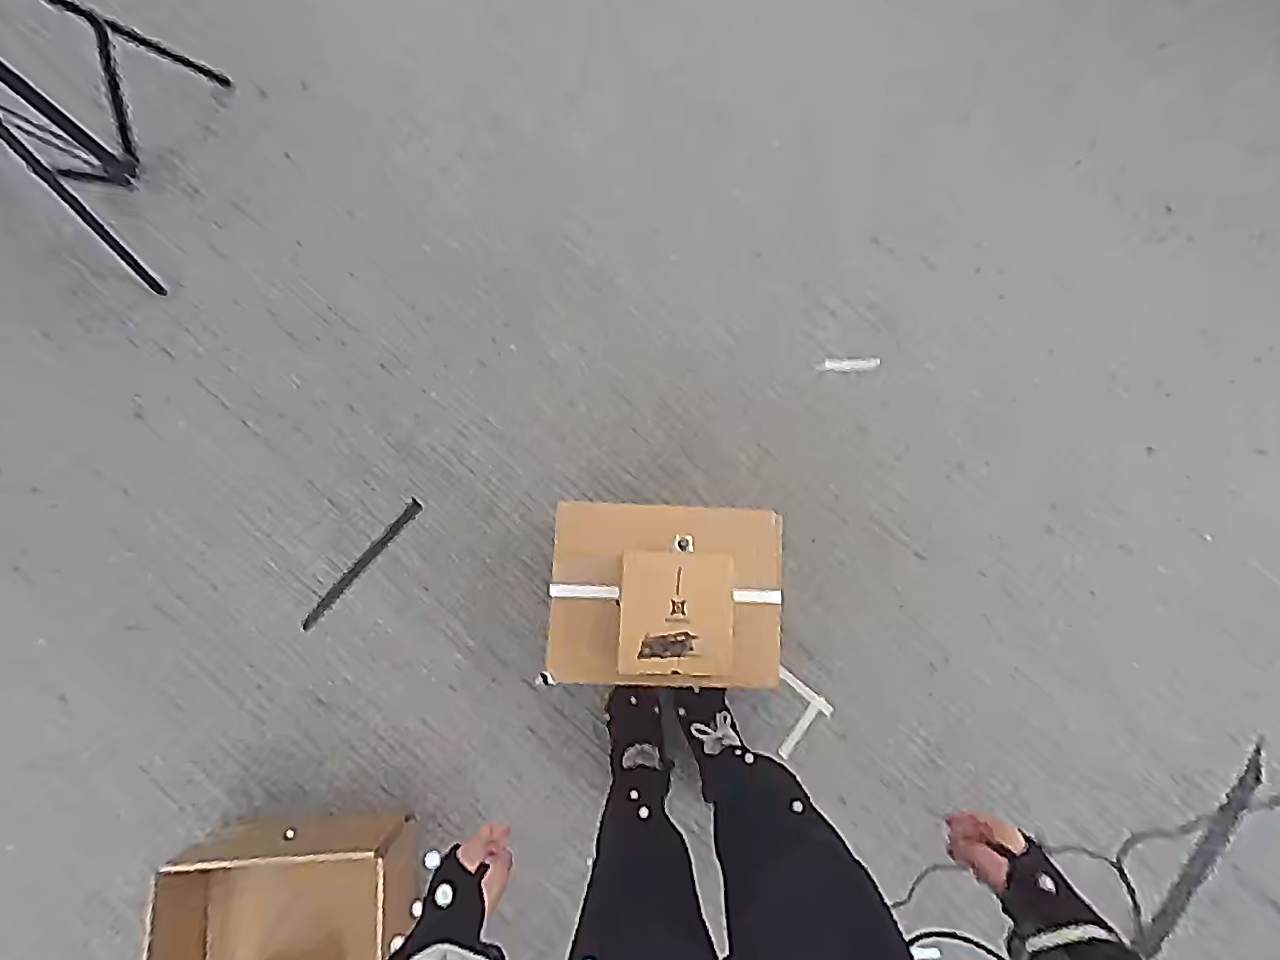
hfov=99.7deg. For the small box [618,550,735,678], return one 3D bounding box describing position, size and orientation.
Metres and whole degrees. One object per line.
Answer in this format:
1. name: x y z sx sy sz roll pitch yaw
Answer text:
1. small box: 0.051 0.206 0.859 0.168 0.176 0.179 3 79 -3
